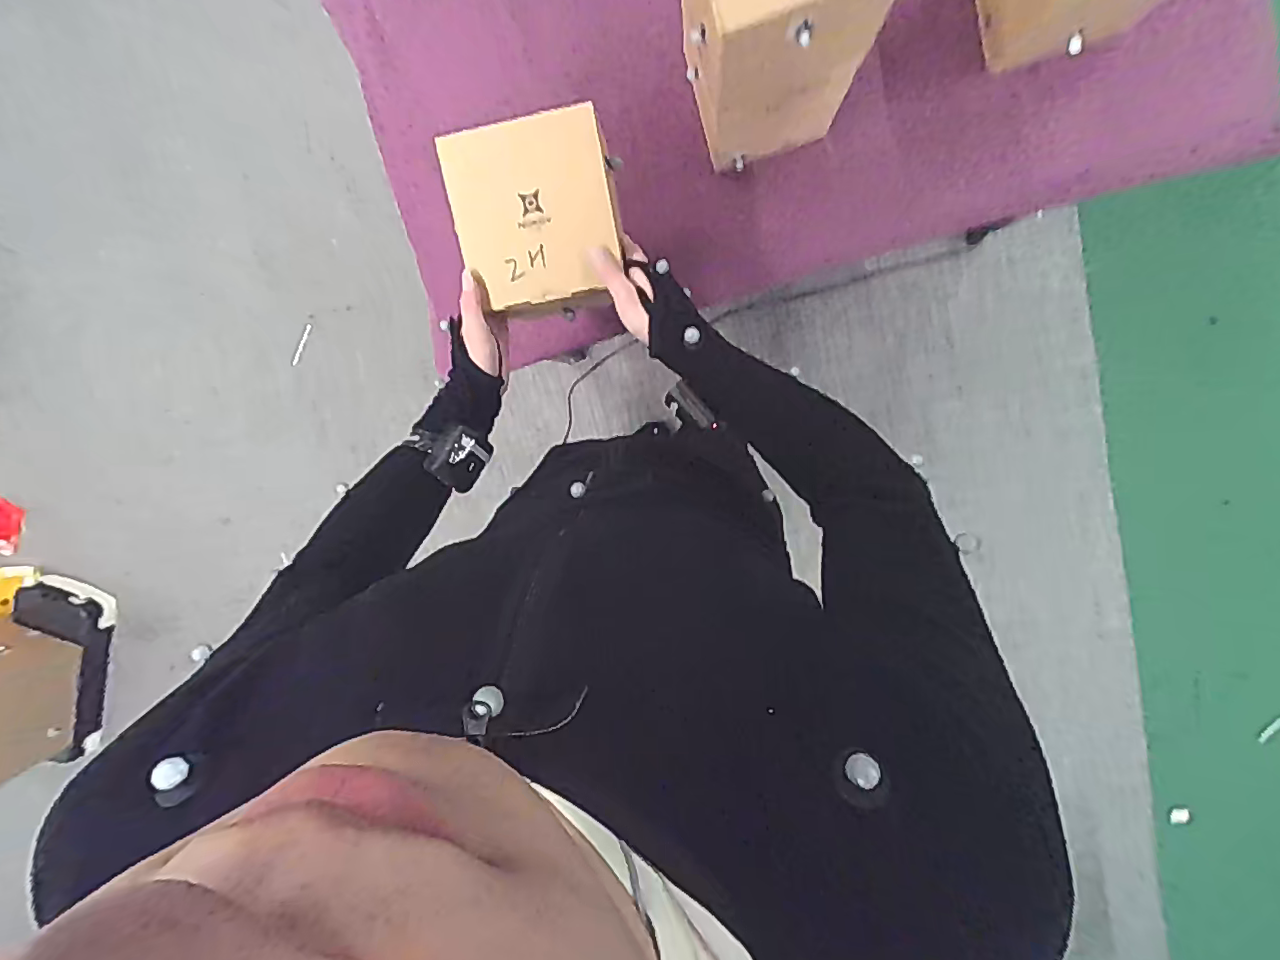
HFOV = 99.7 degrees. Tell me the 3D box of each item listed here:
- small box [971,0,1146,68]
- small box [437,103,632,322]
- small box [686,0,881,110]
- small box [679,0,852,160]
[{"bbox_3d":[0.526,-0.644,0.641,0.179,0.176,0.168,-14,98,8],"label":"small box"},{"bbox_3d":[-0.106,-0.289,0.626,0.168,0.176,0.179,-9,103,5],"label":"small box"},{"bbox_3d":[0.137,-0.513,0.537,0.179,0.176,0.168,-16,99,7],"label":"small box"},{"bbox_3d":[0.152,-0.545,0.697,0.168,0.176,0.179,-16,98,8],"label":"small box"}]
